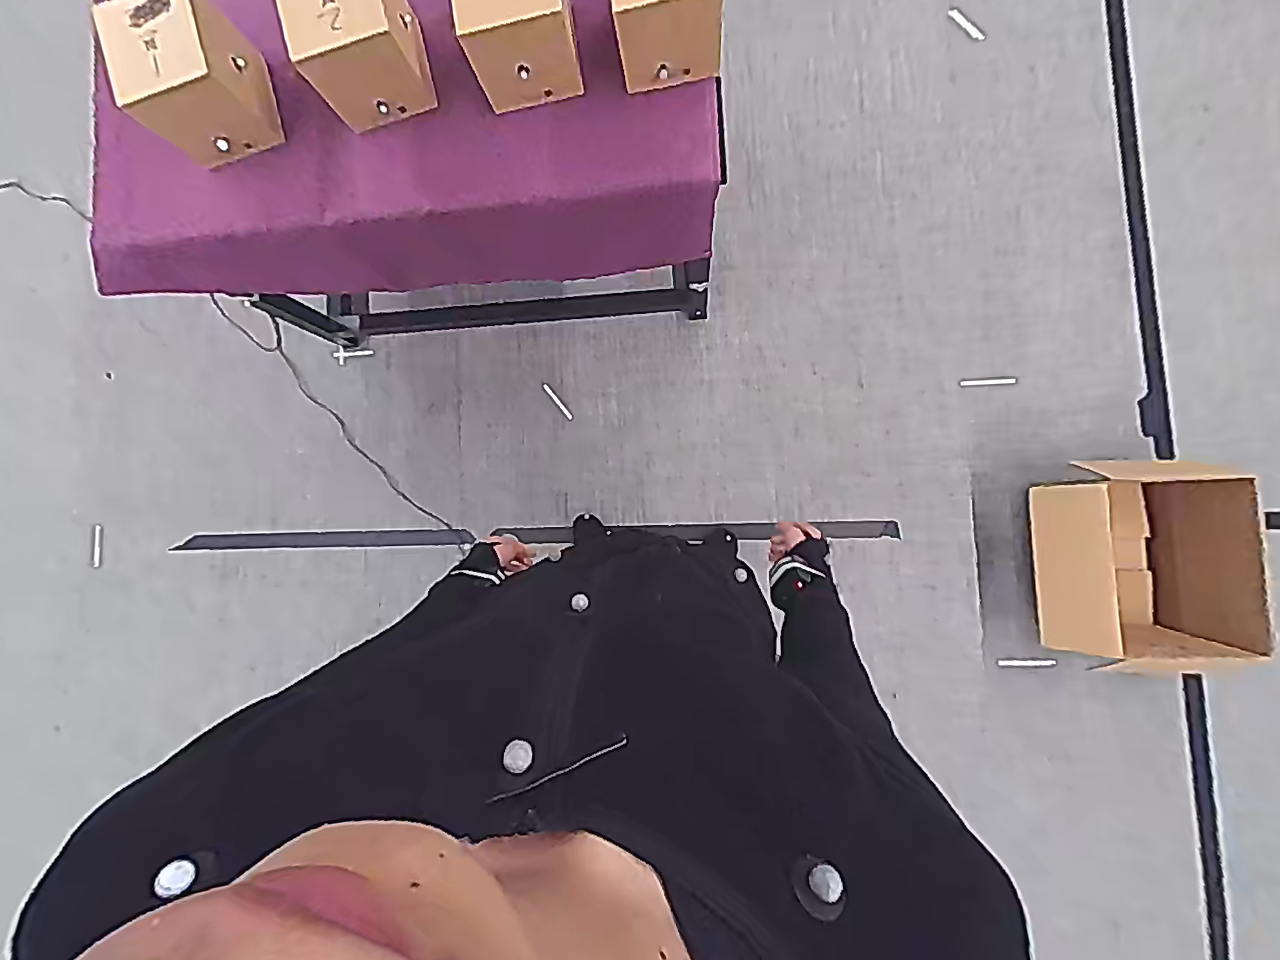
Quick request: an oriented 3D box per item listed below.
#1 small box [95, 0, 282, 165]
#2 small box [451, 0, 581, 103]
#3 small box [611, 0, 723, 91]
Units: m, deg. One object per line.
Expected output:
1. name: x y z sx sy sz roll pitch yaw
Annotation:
1. small box: -0.767 -0.694 0.935 0.168 0.176 0.179 -16 87 5
2. small box: -0.199 -0.758 0.884 0.168 0.176 0.179 -9 86 5
3. small box: 0.039 -0.775 0.861 0.168 0.176 0.179 -7 86 7
